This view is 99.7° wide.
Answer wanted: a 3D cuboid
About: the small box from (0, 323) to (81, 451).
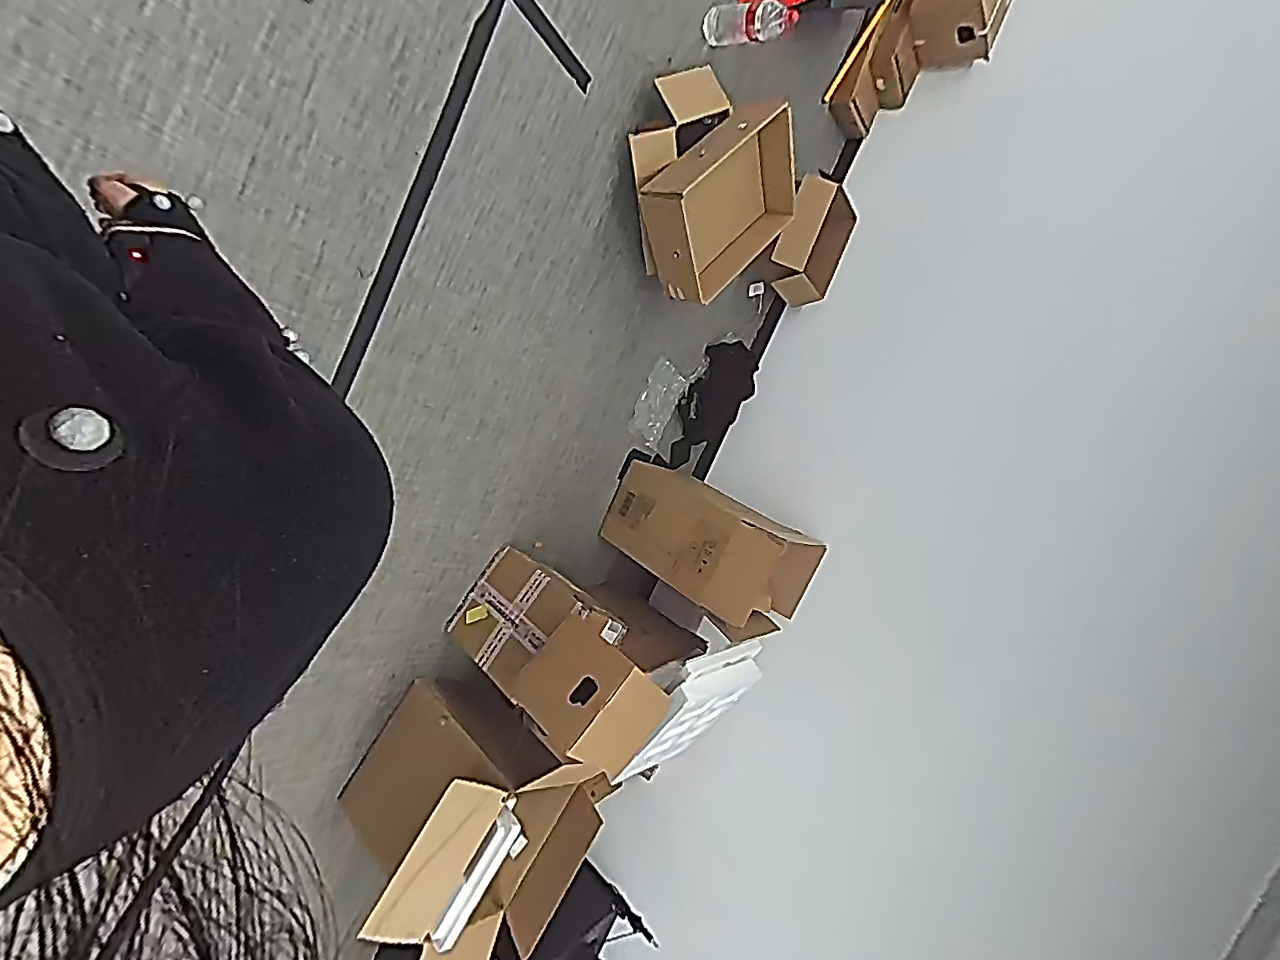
[{"bbox_3d":[-1.132,-0.161,0.935,0.168,0.176,0.179,-30,135,-37],"label":"small box"}]
